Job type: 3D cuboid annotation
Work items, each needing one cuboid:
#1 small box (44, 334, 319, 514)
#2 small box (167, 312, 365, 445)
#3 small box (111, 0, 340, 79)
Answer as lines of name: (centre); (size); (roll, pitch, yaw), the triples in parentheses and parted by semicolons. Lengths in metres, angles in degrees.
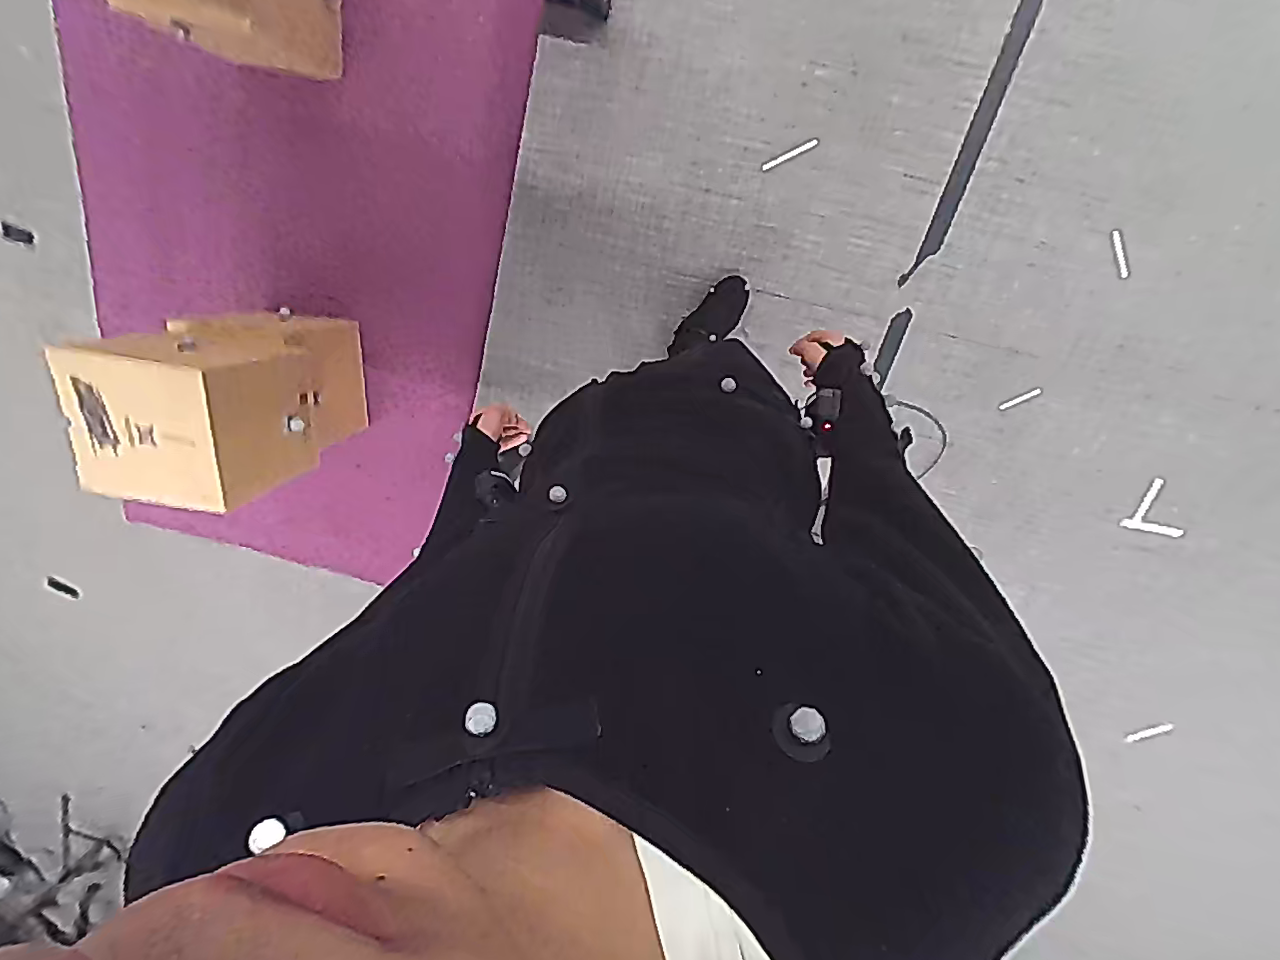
small box: (-0.527, -0.078, 0.650); (0.179, 0.176, 0.168); (9, 112, 2)
small box: (-0.533, -0.146, 0.802); (0.168, 0.176, 0.179); (7, 111, 4)
small box: (-0.472, -0.605, 0.622); (0.168, 0.176, 0.179); (11, 111, 2)
